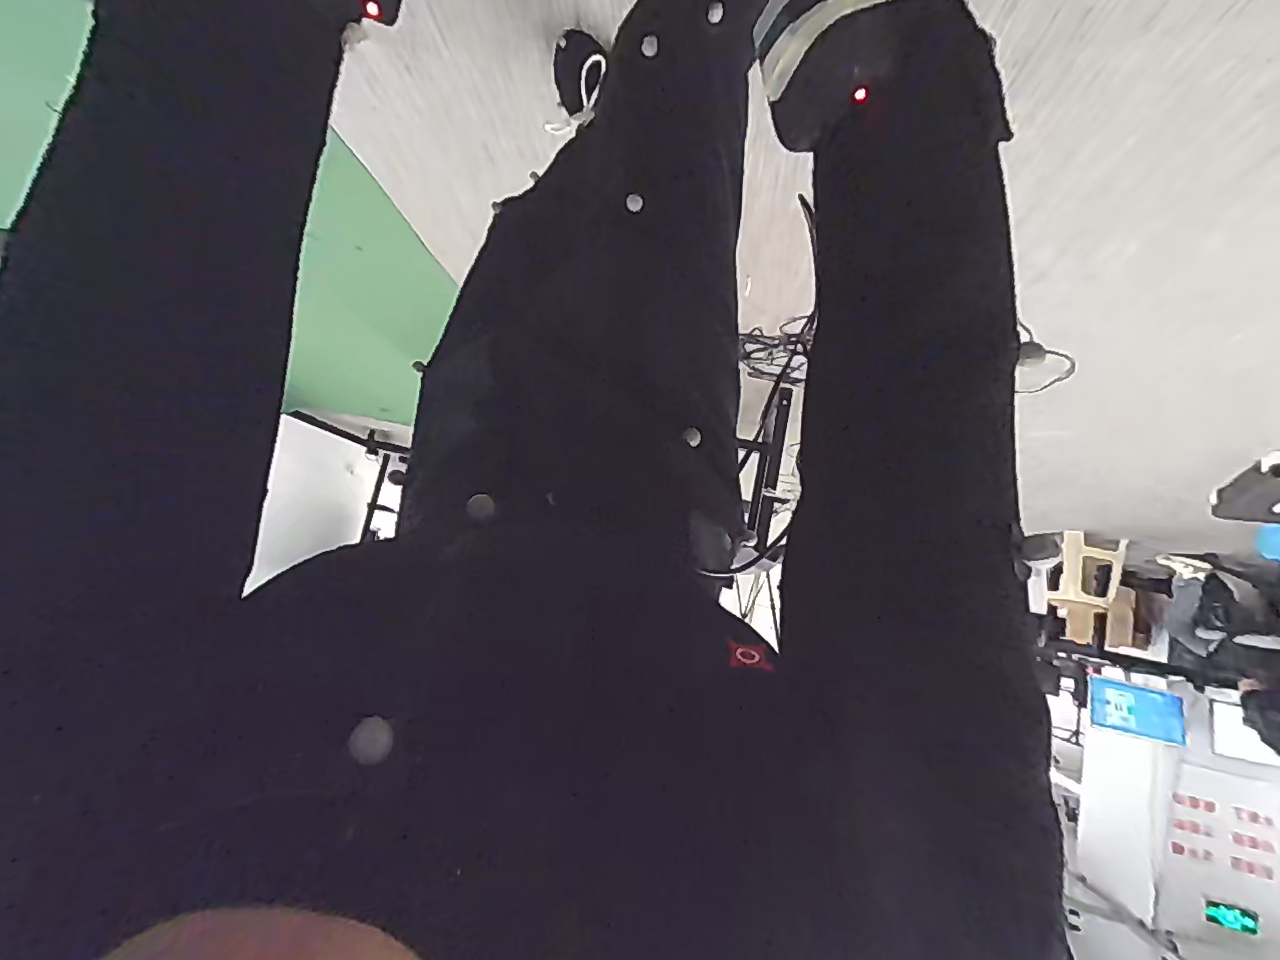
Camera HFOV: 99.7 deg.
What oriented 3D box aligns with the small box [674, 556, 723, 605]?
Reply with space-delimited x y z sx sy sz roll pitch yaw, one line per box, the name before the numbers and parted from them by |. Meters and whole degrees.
small box | 0.246 0.416 2.250 0.179 0.176 0.168 11 171 9
